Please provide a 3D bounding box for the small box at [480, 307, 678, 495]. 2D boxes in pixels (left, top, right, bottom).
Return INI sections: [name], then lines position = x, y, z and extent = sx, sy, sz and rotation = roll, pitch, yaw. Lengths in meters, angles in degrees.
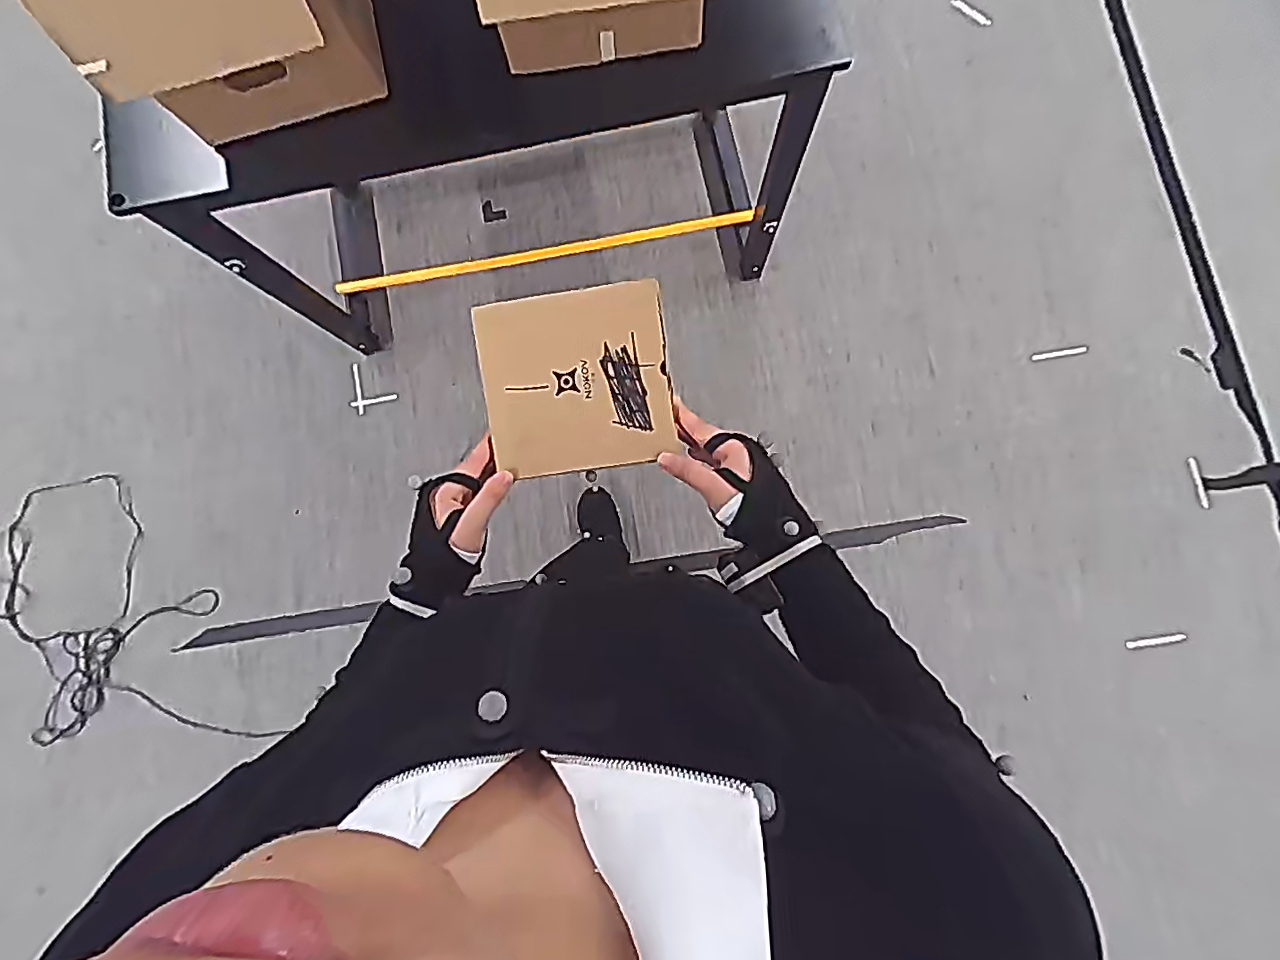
[small box]
position = -0.056, -0.082, 0.599
extent = 0.179, 0.176, 0.168
rotation = -7, 94, 4
